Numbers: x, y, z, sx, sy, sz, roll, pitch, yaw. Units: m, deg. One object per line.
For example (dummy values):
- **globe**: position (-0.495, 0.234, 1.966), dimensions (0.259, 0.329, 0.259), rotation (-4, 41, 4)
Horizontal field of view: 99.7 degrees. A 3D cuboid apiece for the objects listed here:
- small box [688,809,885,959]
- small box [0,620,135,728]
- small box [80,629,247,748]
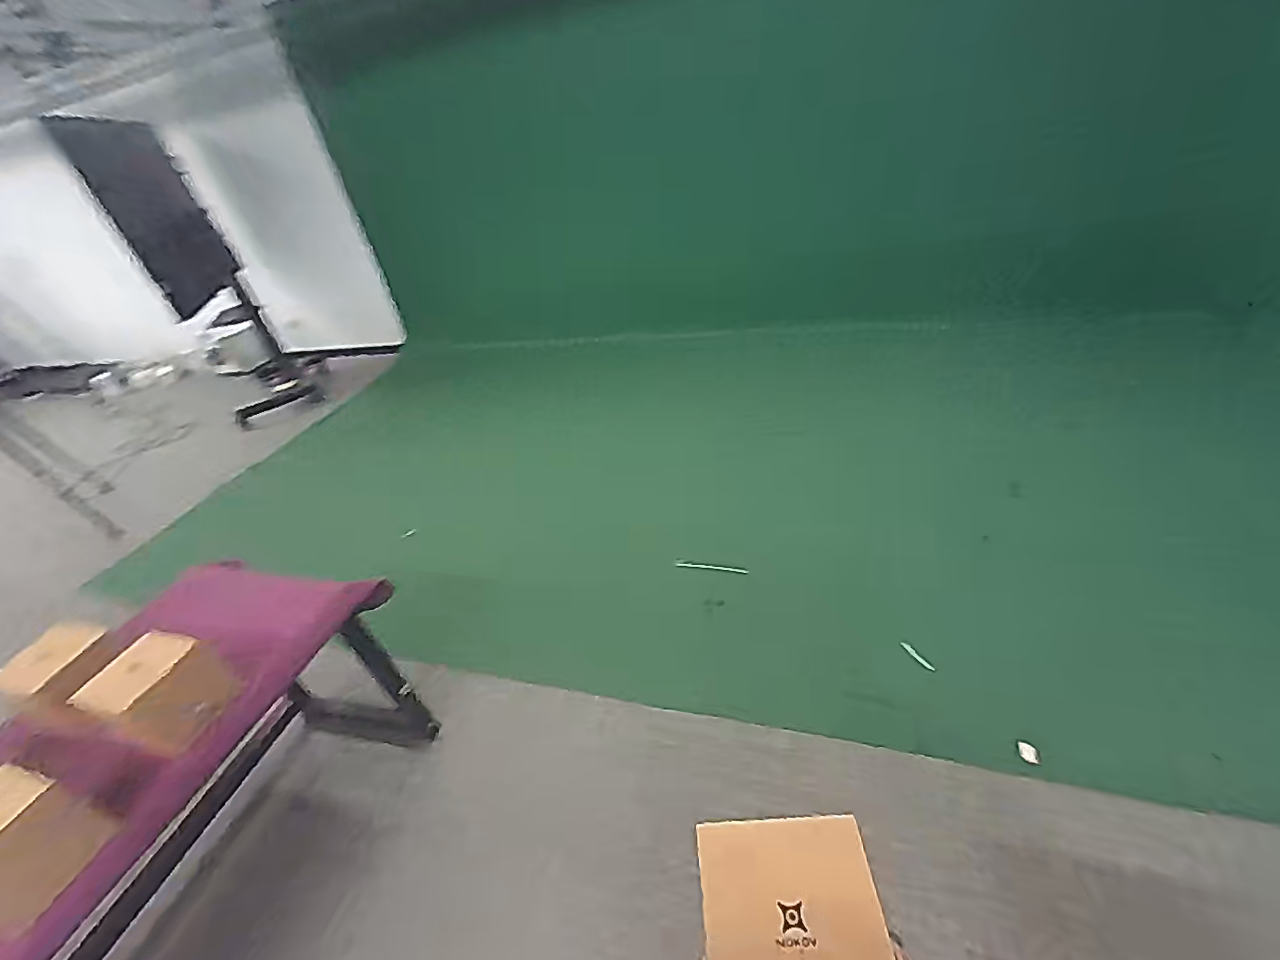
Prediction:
- **small box**: position (0.139, 0.464, 0.545), dimensions (0.168, 0.176, 0.179), rotation (-7, 38, 3)
- **small box**: position (-1.291, 0.448, 1.250), dimensions (0.179, 0.176, 0.168), rotation (2, 39, 17)
- **small box**: position (-1.013, 0.448, 1.163), dimensions (0.179, 0.176, 0.168), rotation (2, 38, 21)
